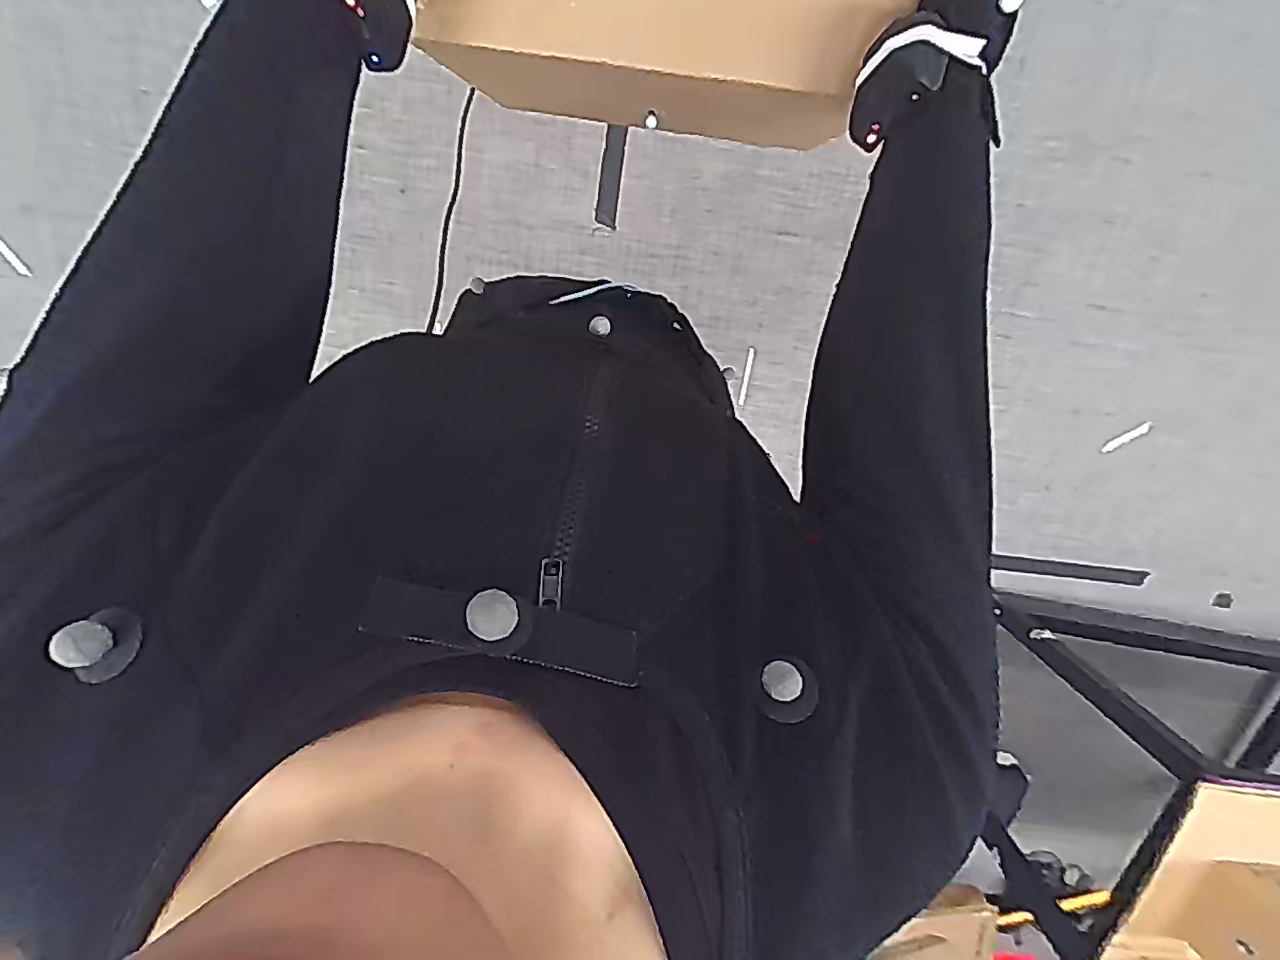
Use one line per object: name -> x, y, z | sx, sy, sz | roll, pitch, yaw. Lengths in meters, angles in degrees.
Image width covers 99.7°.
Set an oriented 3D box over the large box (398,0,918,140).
large box -> 0.033, -0.531, 0.499 | 0.408, 0.320, 0.320 | 8, 115, 0
